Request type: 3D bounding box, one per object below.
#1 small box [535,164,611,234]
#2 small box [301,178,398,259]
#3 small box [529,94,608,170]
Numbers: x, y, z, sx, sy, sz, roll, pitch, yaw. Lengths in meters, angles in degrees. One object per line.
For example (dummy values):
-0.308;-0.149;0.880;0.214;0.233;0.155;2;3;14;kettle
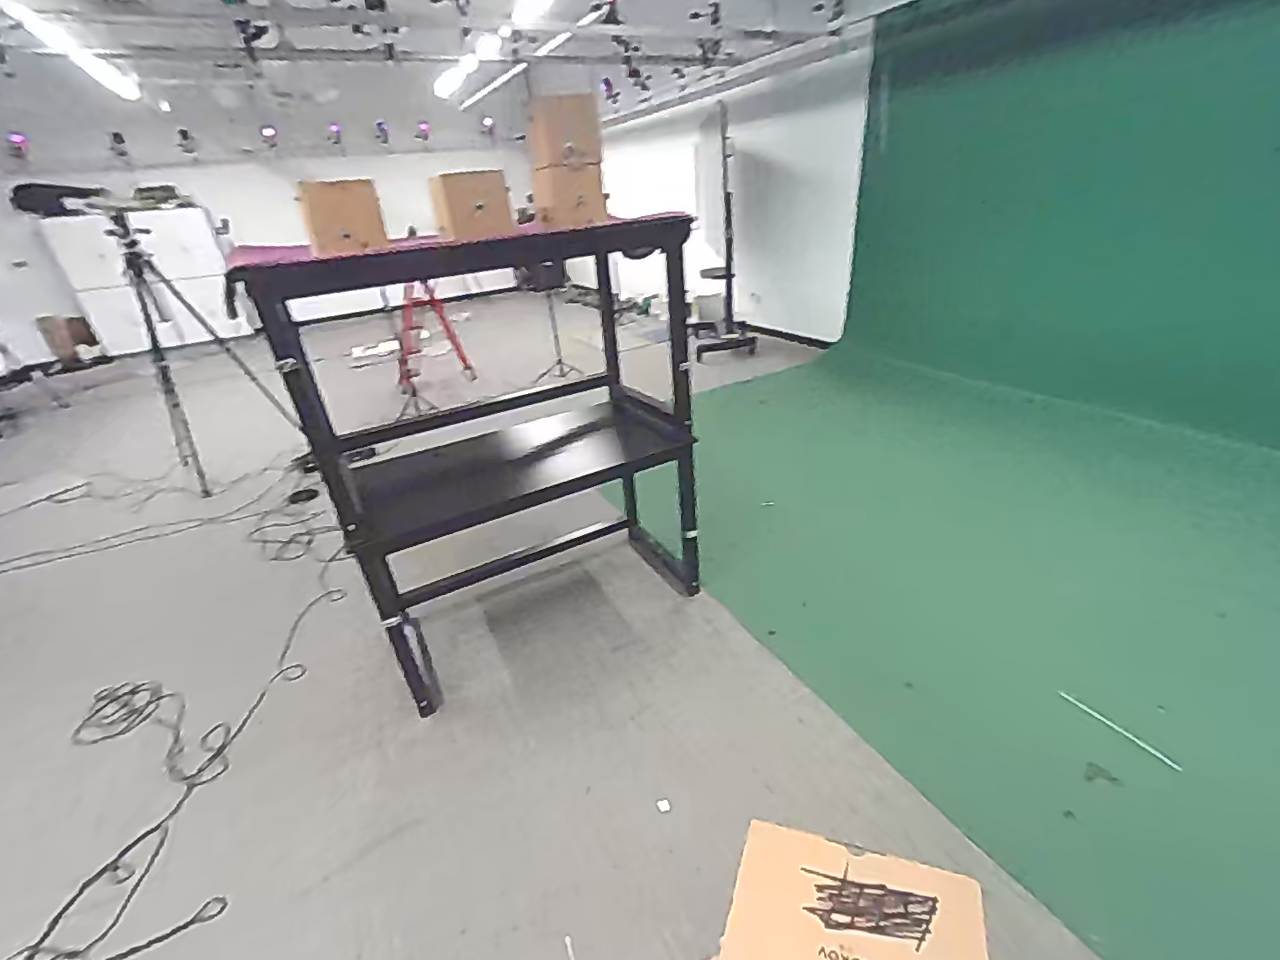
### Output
-0.197;-0.835;1.610;0.168;0.176;0.179;-18;31;-23;small box
-0.725;-0.650;1.351;0.168;0.176;0.179;-20;30;-27;small box
-0.202;-0.981;1.536;0.168;0.176;0.179;-18;32;-20;small box
